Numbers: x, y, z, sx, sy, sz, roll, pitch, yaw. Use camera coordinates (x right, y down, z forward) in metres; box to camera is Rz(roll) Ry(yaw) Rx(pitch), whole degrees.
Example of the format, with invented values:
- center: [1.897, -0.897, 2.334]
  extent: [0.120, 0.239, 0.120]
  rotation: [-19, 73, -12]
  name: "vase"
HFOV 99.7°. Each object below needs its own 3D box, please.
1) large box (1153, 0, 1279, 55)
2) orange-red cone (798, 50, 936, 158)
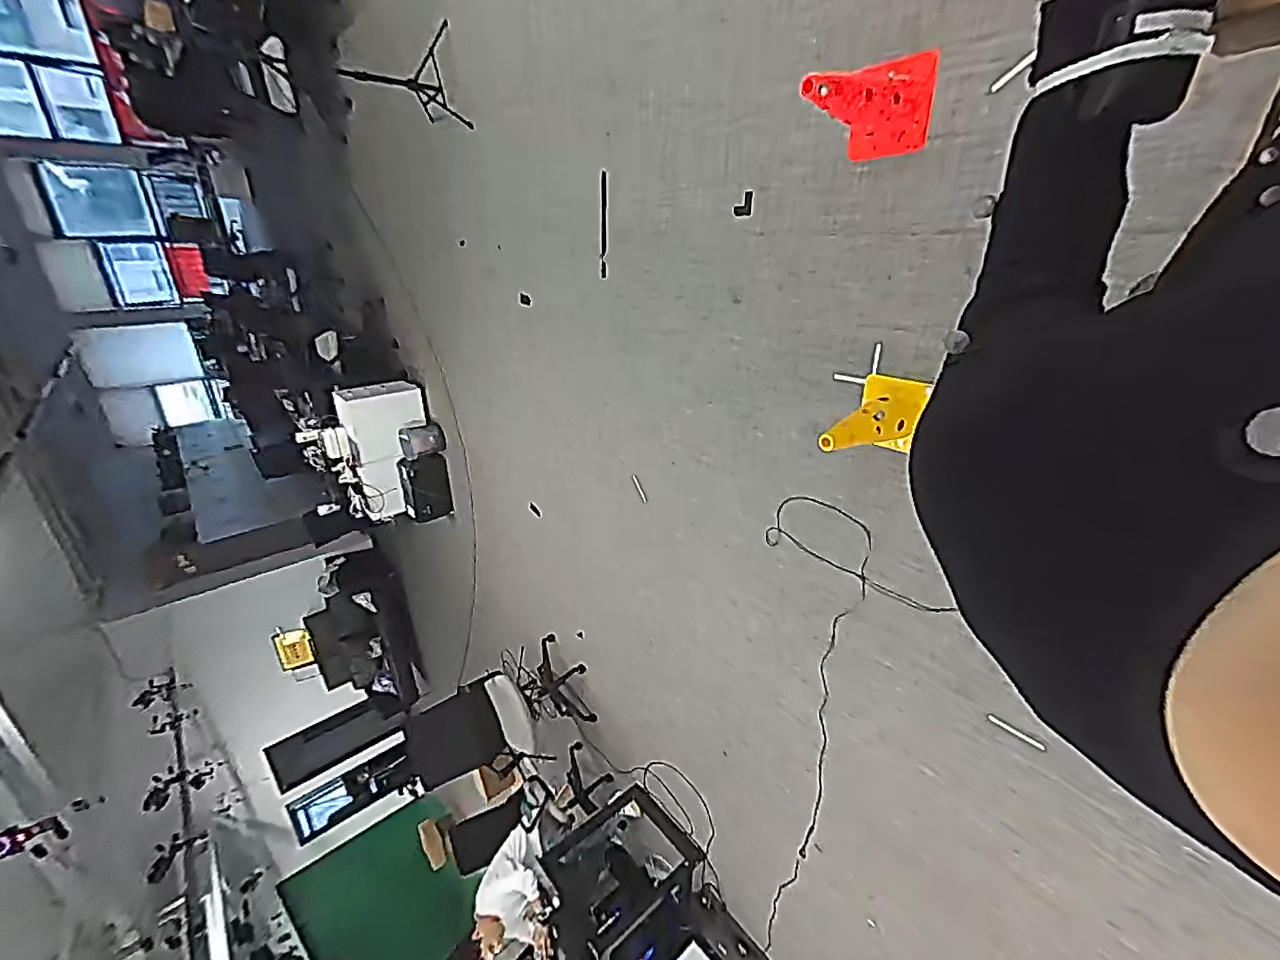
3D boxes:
- center: [0.550, -0.450, 0.238]
  extent: [0.408, 0.320, 0.320]
  rotation: [18, 127, 45]
  name: "large box"
- center: [0.475, -0.856, 1.213]
  extent: [0.198, 0.360, 0.199]
  rotation: [24, 125, 45]
  name: "orange-red cone"
